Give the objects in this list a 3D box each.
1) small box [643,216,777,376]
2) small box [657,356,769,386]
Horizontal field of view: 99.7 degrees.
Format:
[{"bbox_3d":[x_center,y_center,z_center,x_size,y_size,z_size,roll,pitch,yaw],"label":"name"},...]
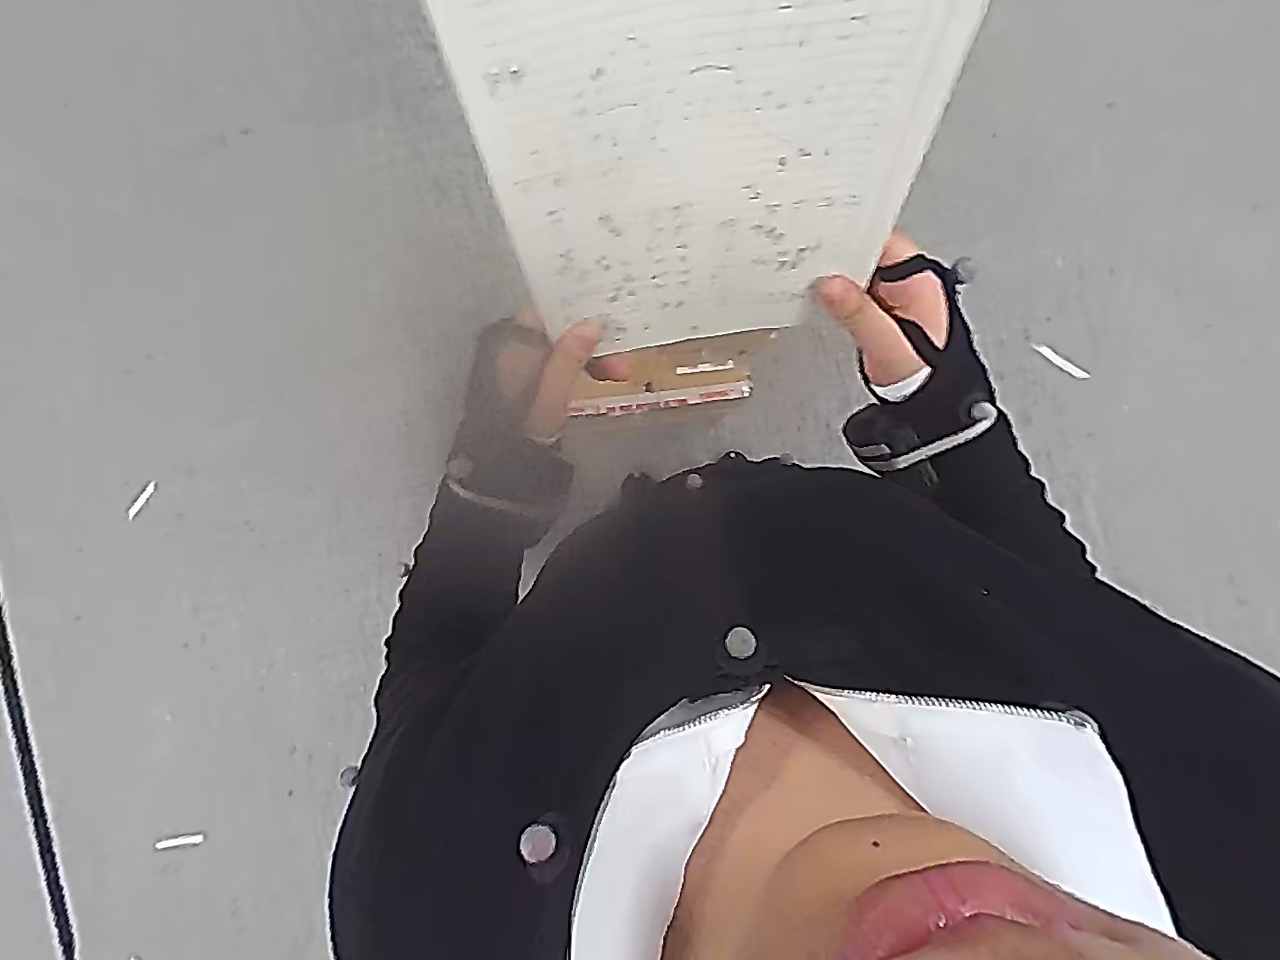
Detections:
[{"bbox_3d":[0.091,-0.253,0.777,0.168,0.176,0.179,-4,93,0],"label":"small box"},{"bbox_3d":[0.112,-0.265,0.941,0.179,0.176,0.168,-8,92,1],"label":"small box"}]
